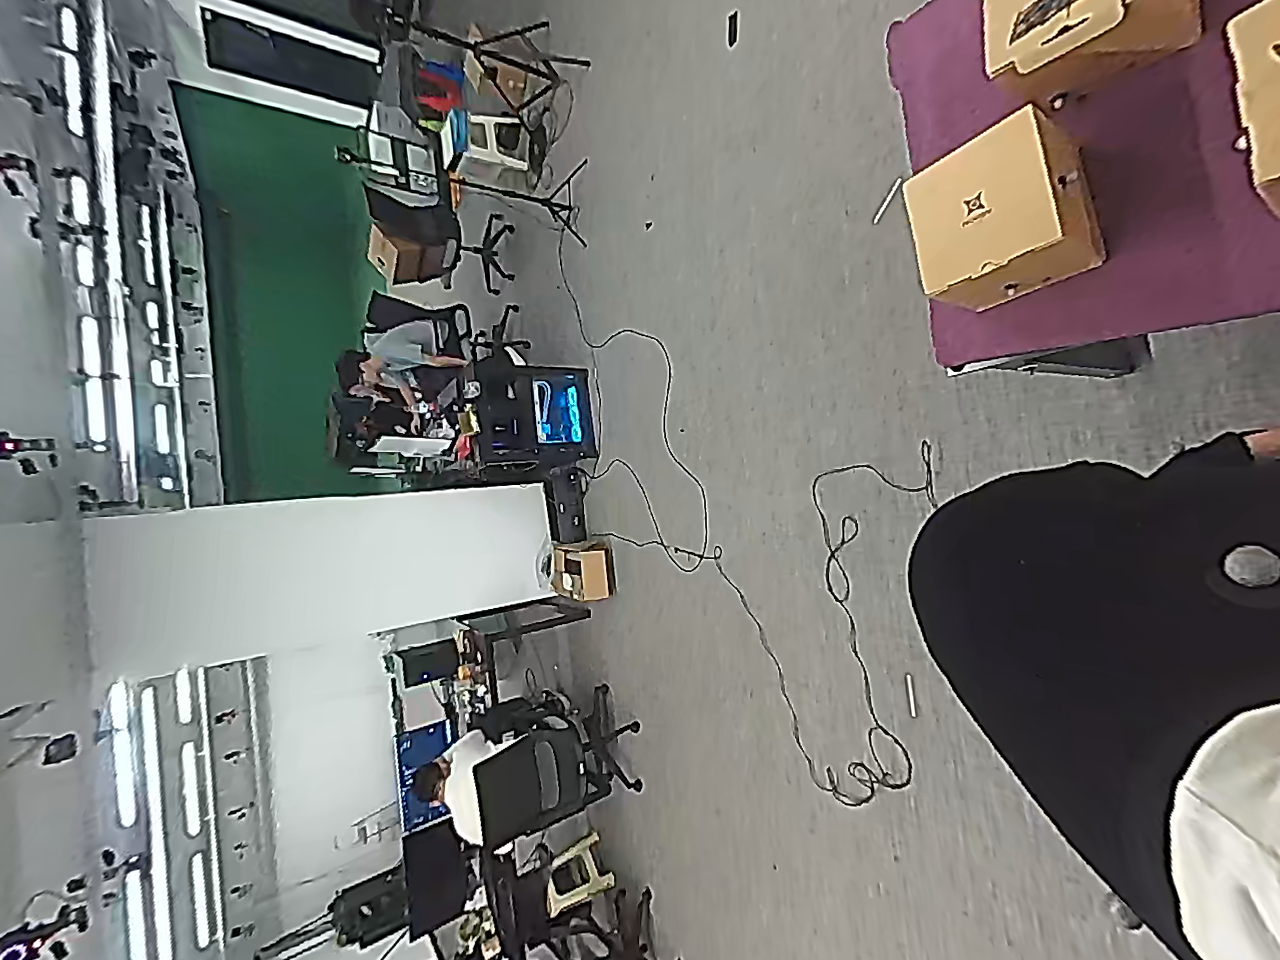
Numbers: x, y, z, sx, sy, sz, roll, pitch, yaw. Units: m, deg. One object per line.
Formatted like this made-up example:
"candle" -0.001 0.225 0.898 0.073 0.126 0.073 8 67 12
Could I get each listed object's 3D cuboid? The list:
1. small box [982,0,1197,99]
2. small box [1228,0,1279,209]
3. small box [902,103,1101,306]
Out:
"small box" 0.542 -0.602 0.656 0.168 0.176 0.179 0 95 55
"small box" 0.680 -0.372 0.484 0.179 0.176 0.168 -10 86 56
"small box" 0.499 -0.363 0.751 0.168 0.176 0.179 -17 81 54
